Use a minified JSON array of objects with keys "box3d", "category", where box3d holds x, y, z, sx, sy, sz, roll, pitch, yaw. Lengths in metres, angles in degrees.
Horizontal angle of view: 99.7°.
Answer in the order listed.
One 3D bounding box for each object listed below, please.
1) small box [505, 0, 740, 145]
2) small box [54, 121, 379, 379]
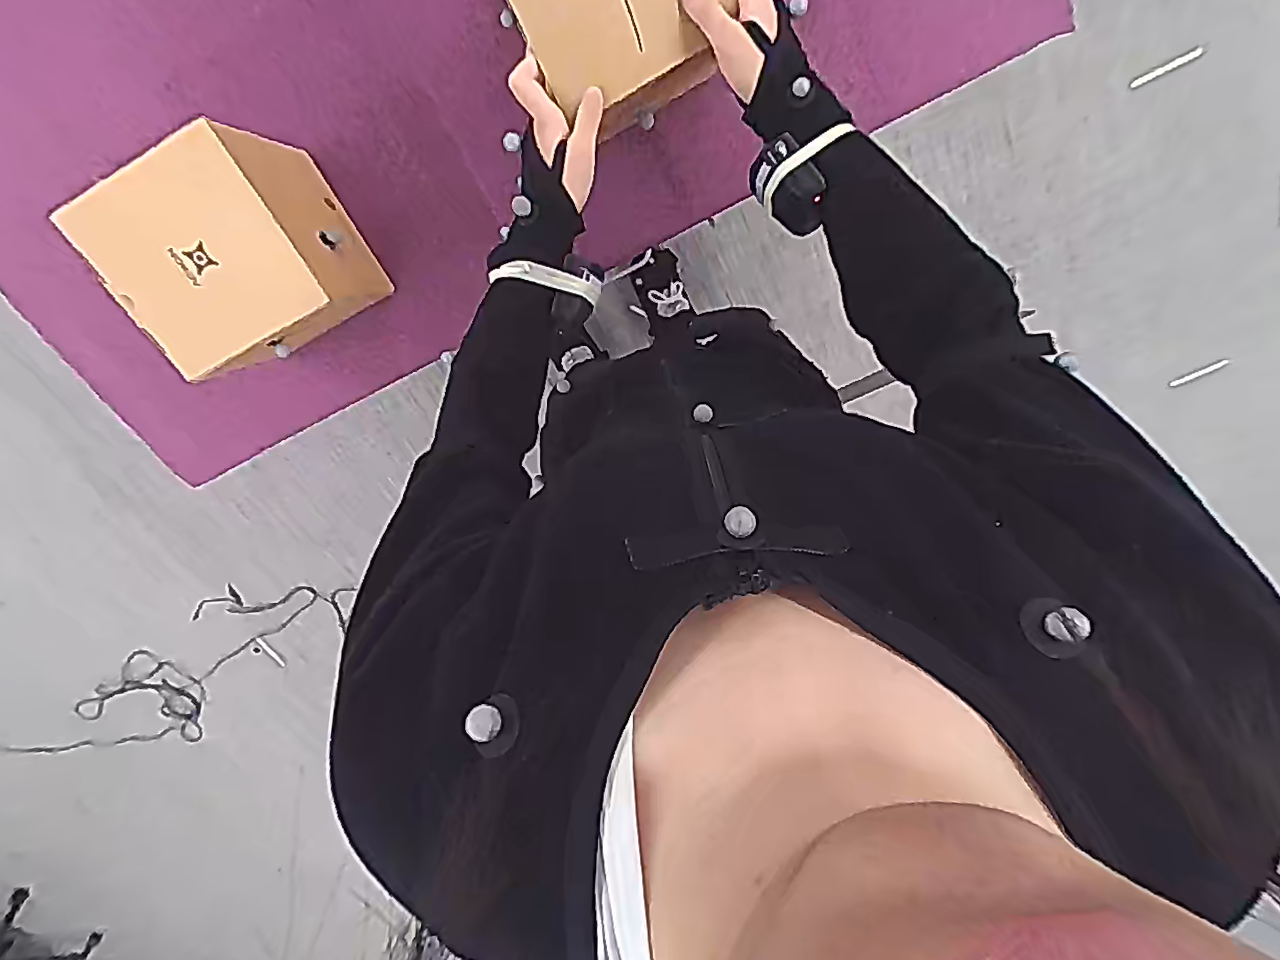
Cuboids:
[{"box3d":[-0.032,-0.439,0.488,0.168,0.176,0.179,-25,114,8],"category":"small box"},{"box3d":[-0.405,-0.233,0.563,0.179,0.176,0.168,-25,112,9],"category":"small box"}]
